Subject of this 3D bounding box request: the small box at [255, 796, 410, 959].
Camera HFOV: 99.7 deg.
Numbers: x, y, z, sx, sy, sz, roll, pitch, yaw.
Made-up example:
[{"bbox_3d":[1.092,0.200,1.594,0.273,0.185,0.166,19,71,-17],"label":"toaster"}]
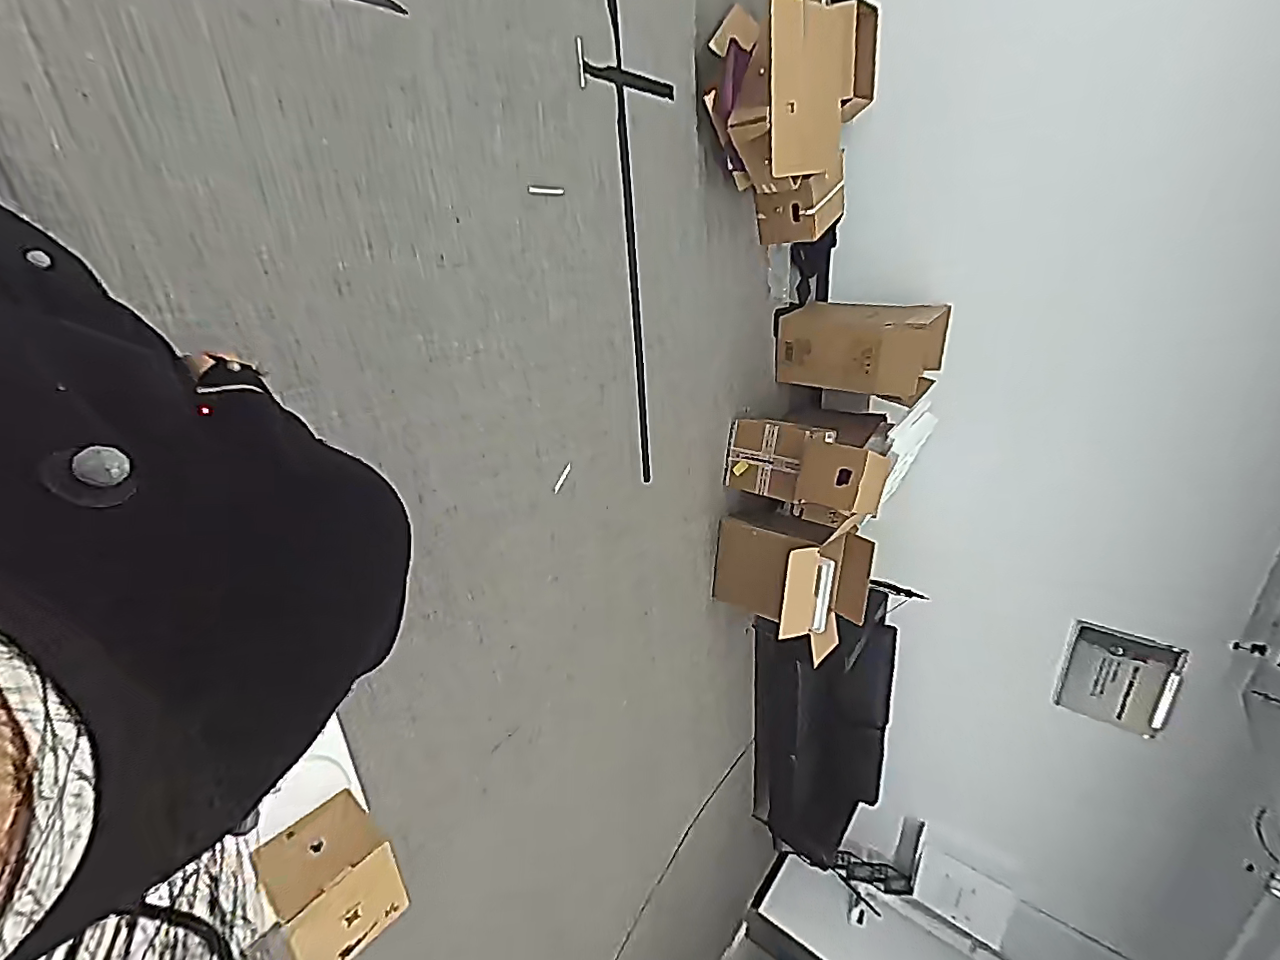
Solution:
[{"bbox_3d":[-0.534,0.692,0.941,0.168,0.176,0.179,-25,119,-44],"label":"small box"}]
